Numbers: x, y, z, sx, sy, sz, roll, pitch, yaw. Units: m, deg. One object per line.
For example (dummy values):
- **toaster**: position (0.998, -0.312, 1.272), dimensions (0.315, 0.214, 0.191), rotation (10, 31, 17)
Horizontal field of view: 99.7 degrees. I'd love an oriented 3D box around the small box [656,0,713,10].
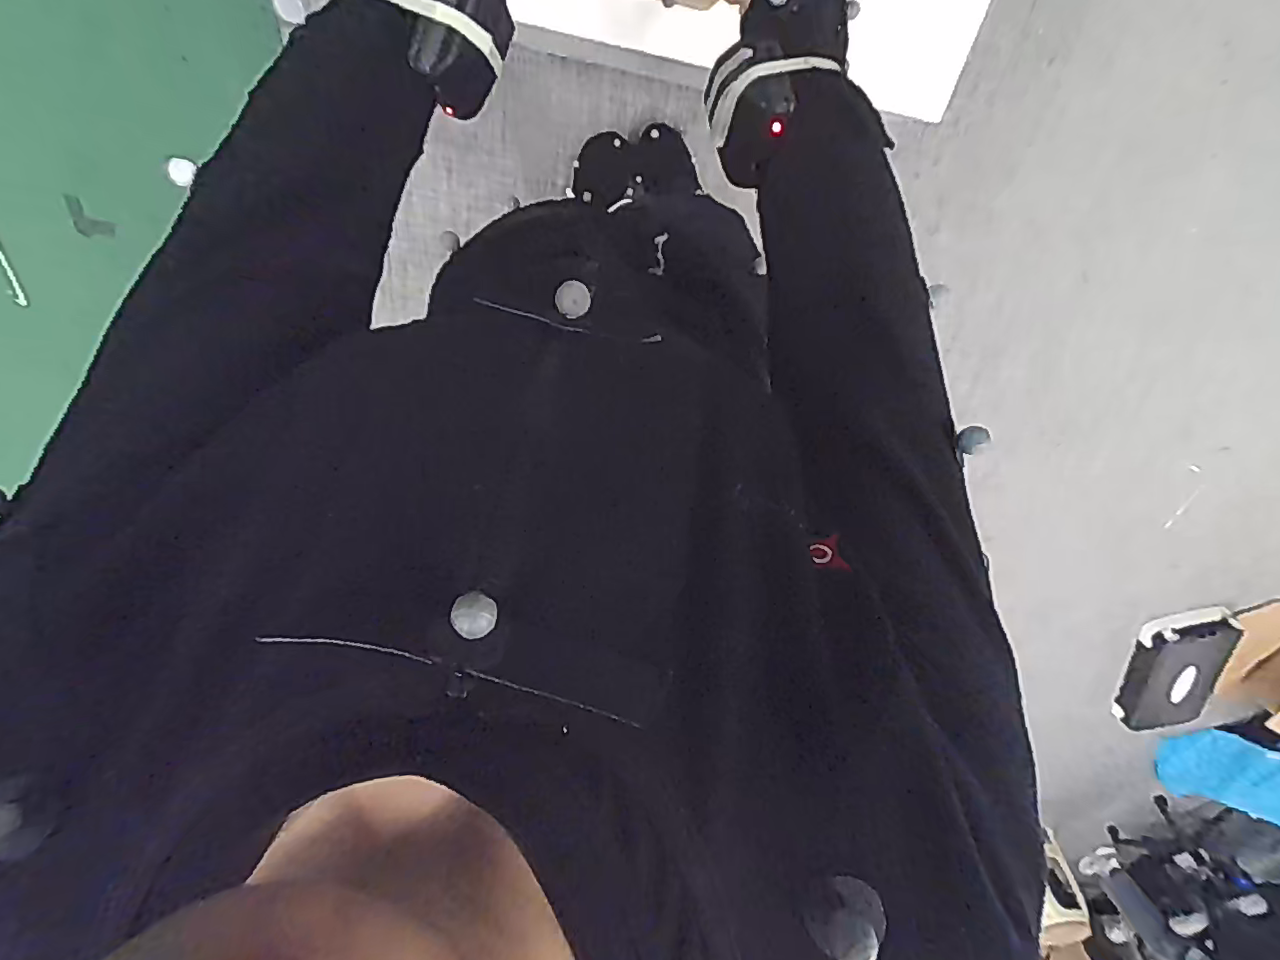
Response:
- **small box**: position (0.005, -0.478, 0.392), dimensions (0.168, 0.176, 0.179), rotation (6, 123, -9)
